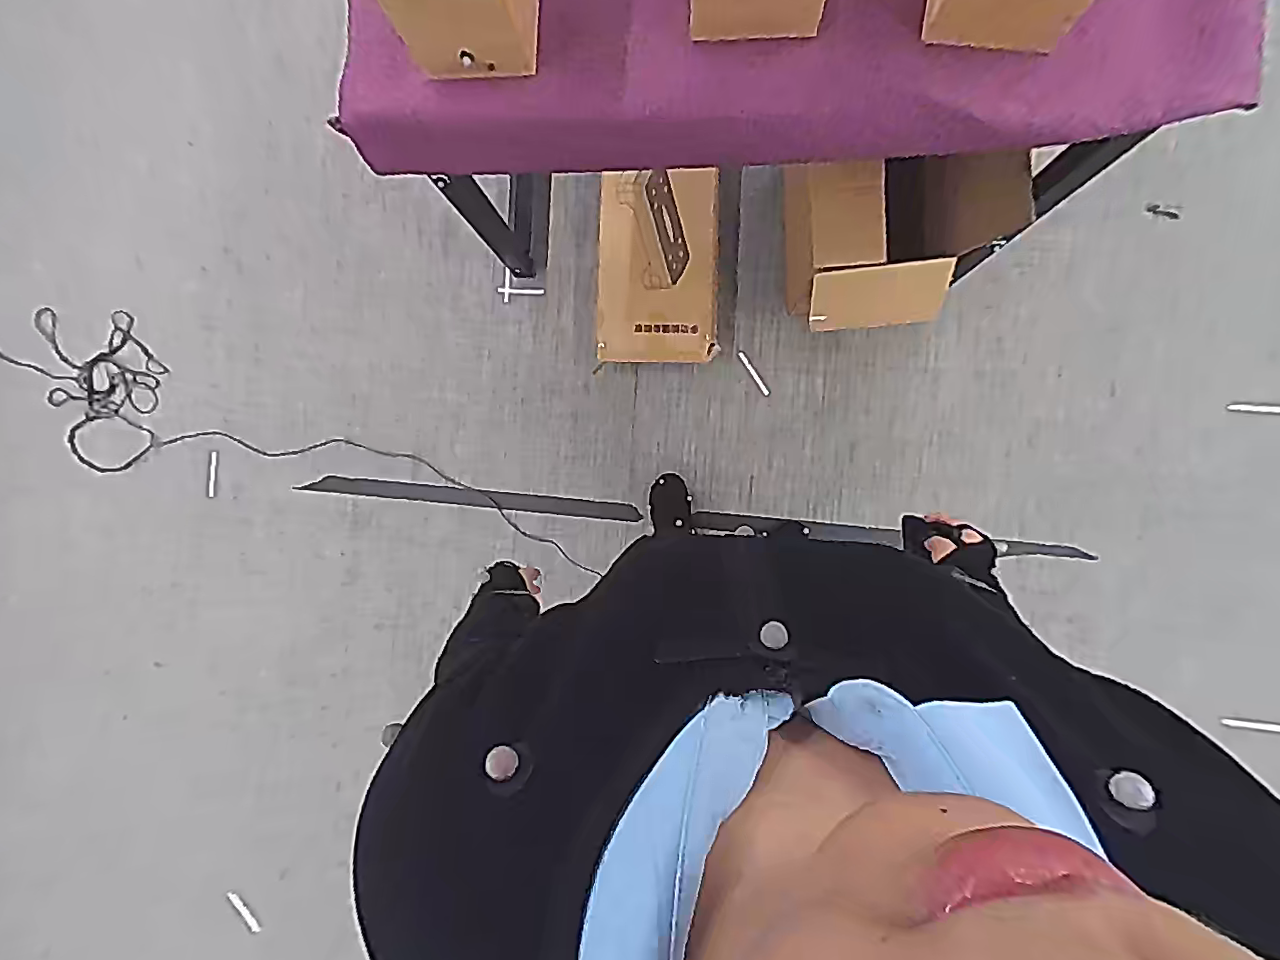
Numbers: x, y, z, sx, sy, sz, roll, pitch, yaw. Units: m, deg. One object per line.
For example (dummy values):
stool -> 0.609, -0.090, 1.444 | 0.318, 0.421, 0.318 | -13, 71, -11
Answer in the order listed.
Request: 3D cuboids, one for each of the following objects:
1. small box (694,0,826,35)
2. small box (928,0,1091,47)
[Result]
small box -> 0.160, -0.702, 0.674 | 0.179, 0.176, 0.168 | 2, 88, 5
small box -> 0.475, -0.666, 0.646 | 0.179, 0.176, 0.168 | 9, 91, 5
